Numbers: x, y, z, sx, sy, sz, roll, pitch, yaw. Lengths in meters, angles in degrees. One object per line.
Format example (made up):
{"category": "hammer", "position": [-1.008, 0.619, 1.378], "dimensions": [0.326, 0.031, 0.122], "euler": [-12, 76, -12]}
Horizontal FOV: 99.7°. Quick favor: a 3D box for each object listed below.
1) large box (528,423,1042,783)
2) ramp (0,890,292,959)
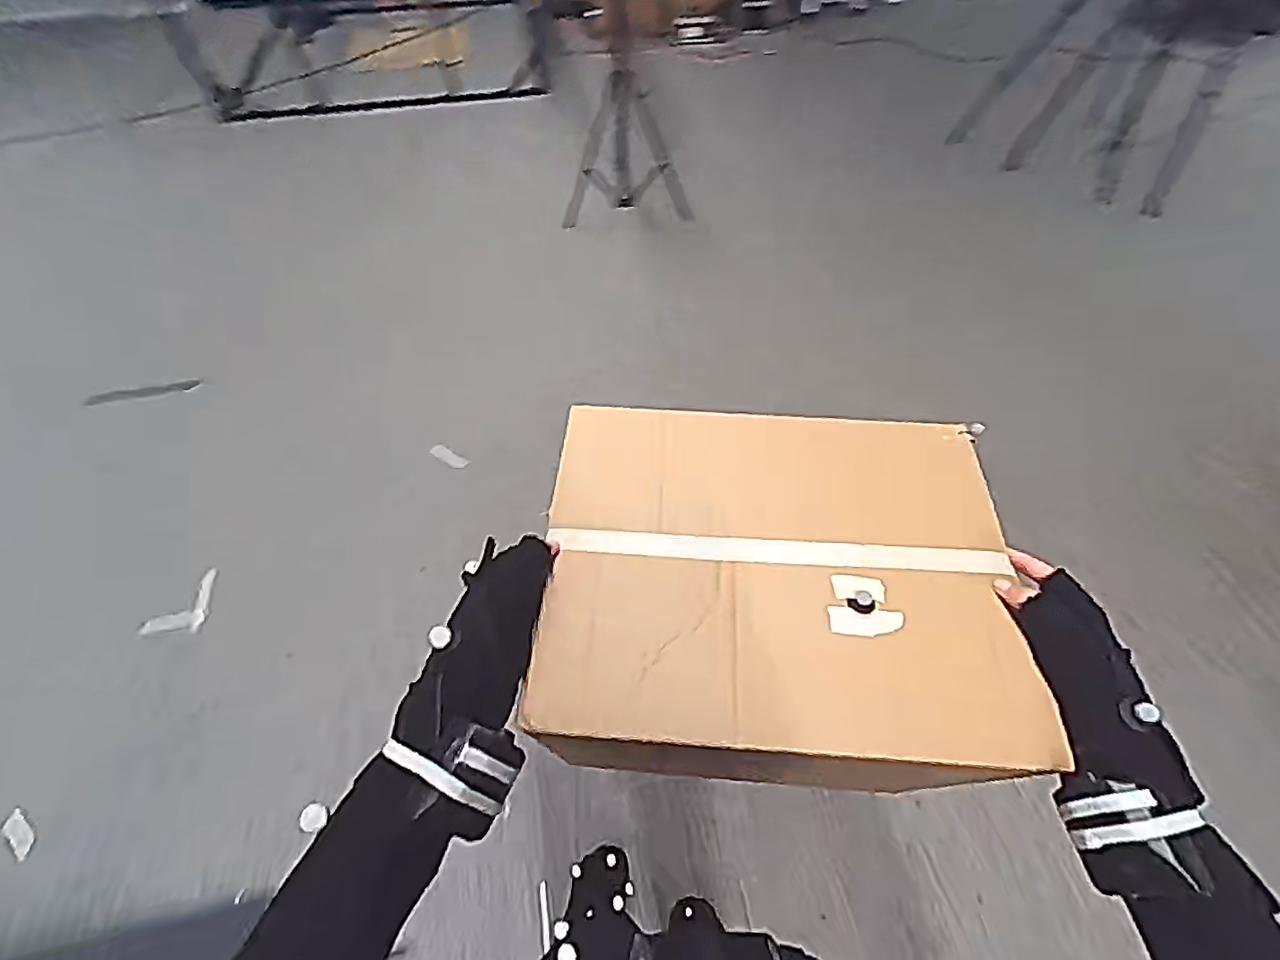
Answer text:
{"category": "large box", "position": [0.113, 0.154, 0.617], "dimensions": [0.408, 0.320, 0.320], "euler": [2, 58, 1]}
{"category": "ramp", "position": [-1.184, 1.109, 0.911], "dimensions": [0.991, 0.206, 0.509], "euler": [-11, 54, -8]}
